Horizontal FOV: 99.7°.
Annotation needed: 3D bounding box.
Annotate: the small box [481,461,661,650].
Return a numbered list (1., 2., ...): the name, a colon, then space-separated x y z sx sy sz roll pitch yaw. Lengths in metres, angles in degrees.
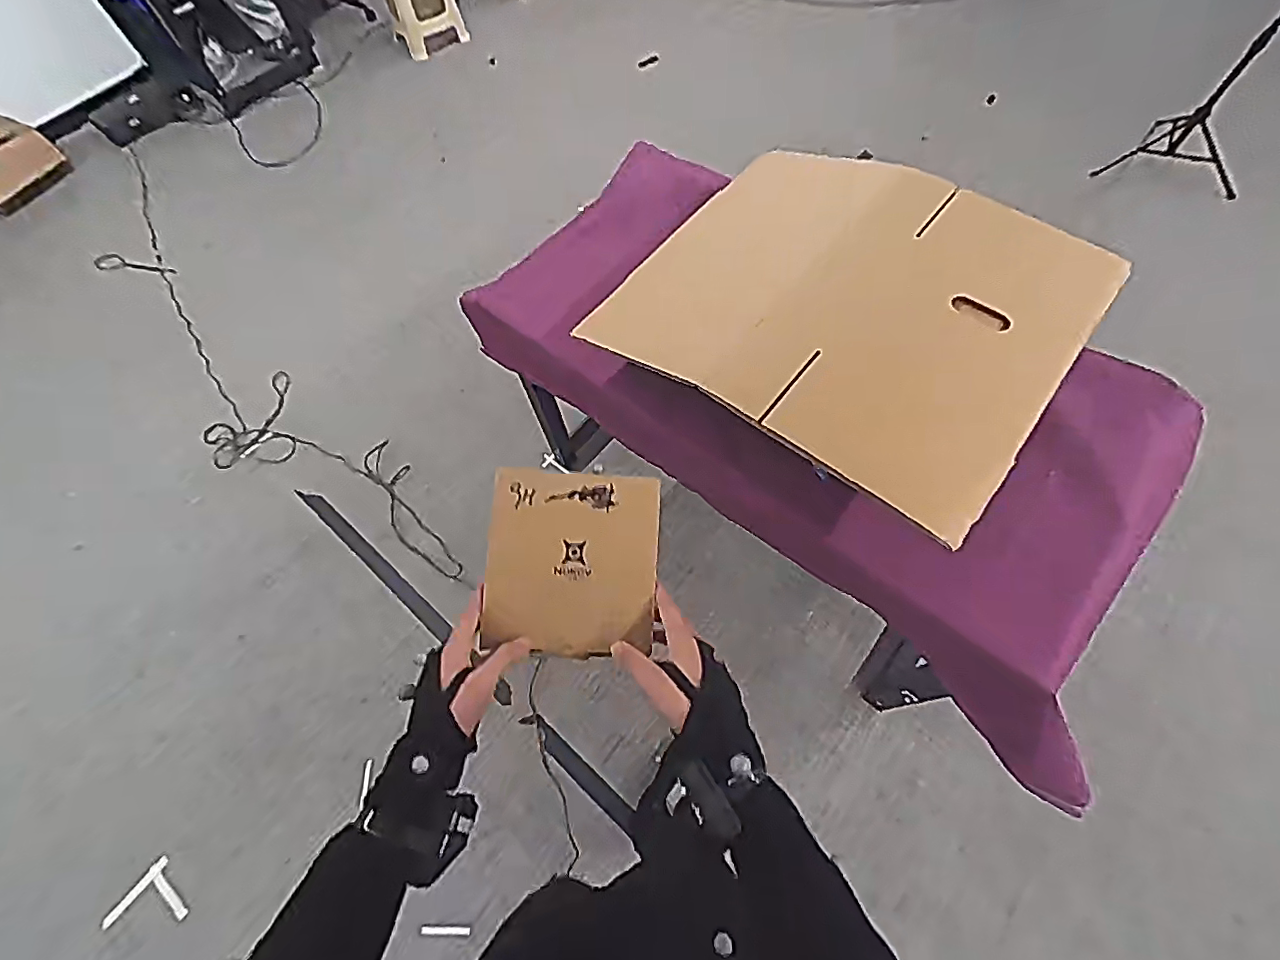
1. small box: -0.070 0.083 0.609 0.168 0.176 0.179 4 82 -4
